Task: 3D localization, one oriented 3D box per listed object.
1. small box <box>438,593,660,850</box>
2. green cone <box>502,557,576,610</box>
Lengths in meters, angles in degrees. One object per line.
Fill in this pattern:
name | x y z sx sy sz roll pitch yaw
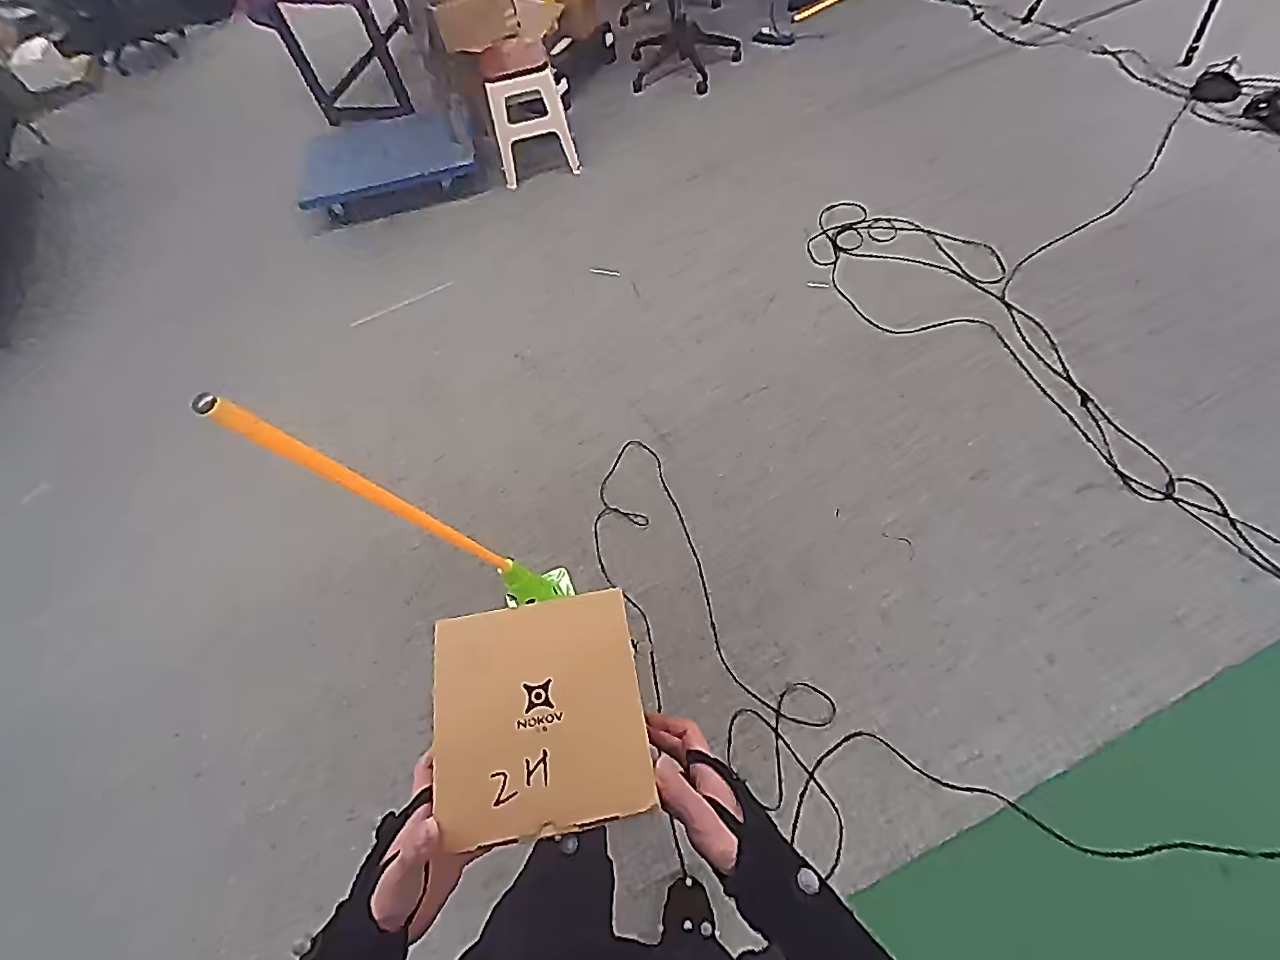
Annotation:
small box | -0.077 0.227 0.508 0.168 0.176 0.179 -9 59 -4
green cone | -0.306 0.297 1.471 0.202 0.368 0.200 -23 61 -7
